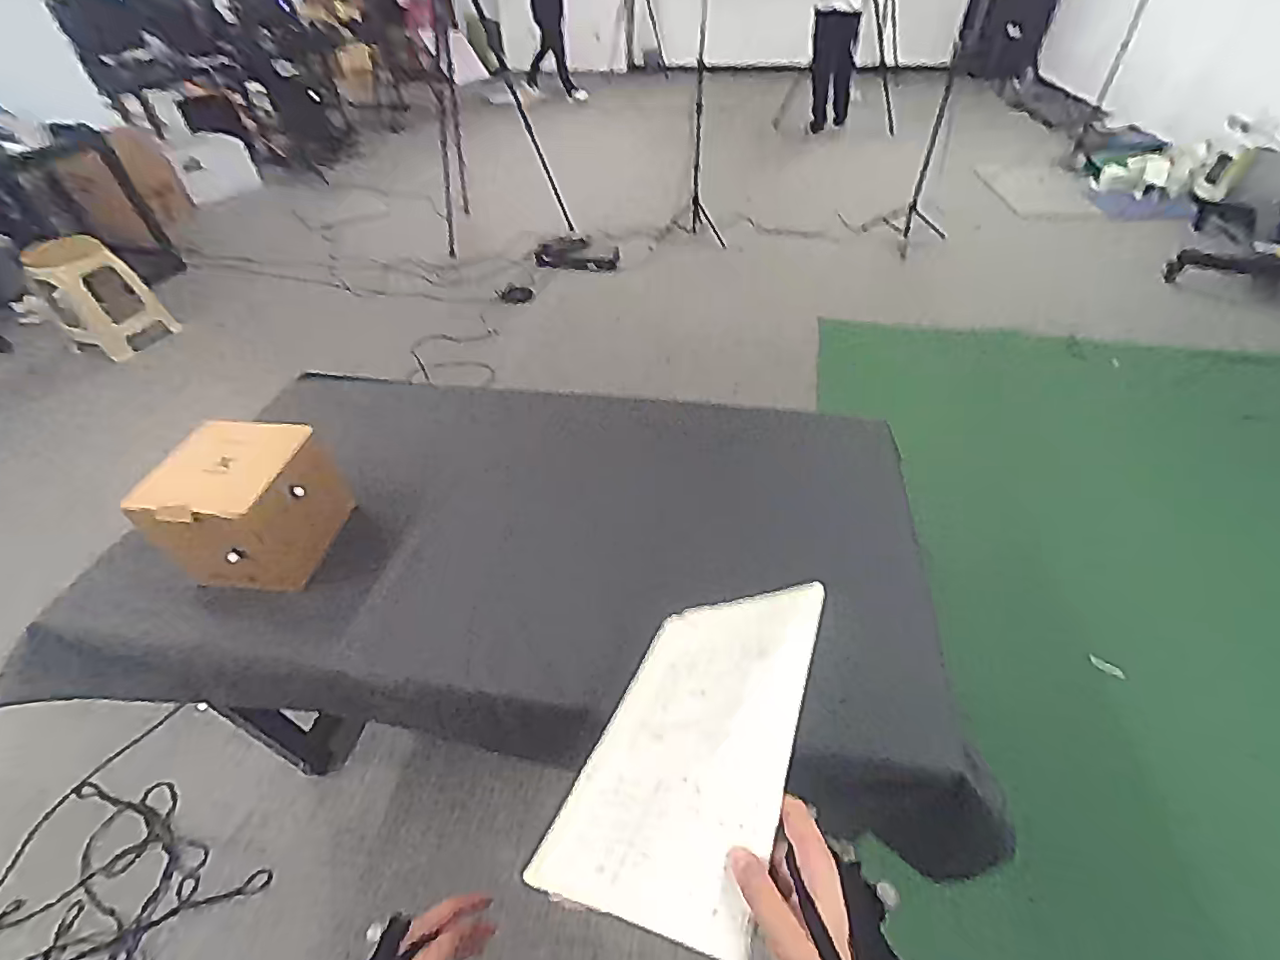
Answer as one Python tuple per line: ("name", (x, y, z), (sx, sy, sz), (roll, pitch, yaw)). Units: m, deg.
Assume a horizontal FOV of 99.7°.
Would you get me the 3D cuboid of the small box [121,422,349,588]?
("small box", (-0.556, 0.037, 0.778), (0.168, 0.176, 0.179), (3, 44, 3))
